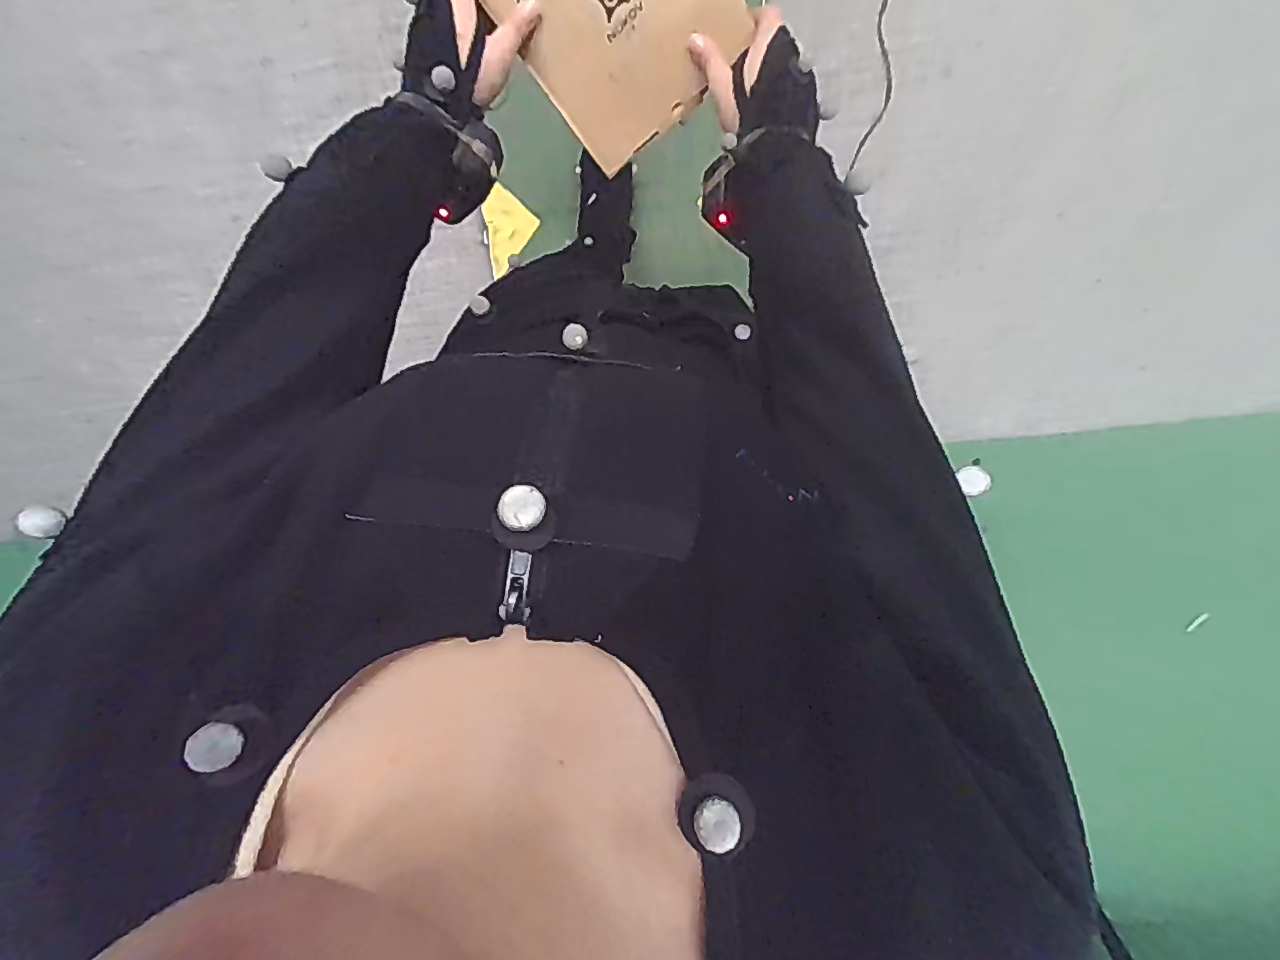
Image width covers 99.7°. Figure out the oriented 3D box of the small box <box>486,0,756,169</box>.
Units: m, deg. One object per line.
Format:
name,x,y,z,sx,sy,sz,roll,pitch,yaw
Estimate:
small box,-0.016,-0.428,0.490,0.168,0.176,0.179,-30,121,24
